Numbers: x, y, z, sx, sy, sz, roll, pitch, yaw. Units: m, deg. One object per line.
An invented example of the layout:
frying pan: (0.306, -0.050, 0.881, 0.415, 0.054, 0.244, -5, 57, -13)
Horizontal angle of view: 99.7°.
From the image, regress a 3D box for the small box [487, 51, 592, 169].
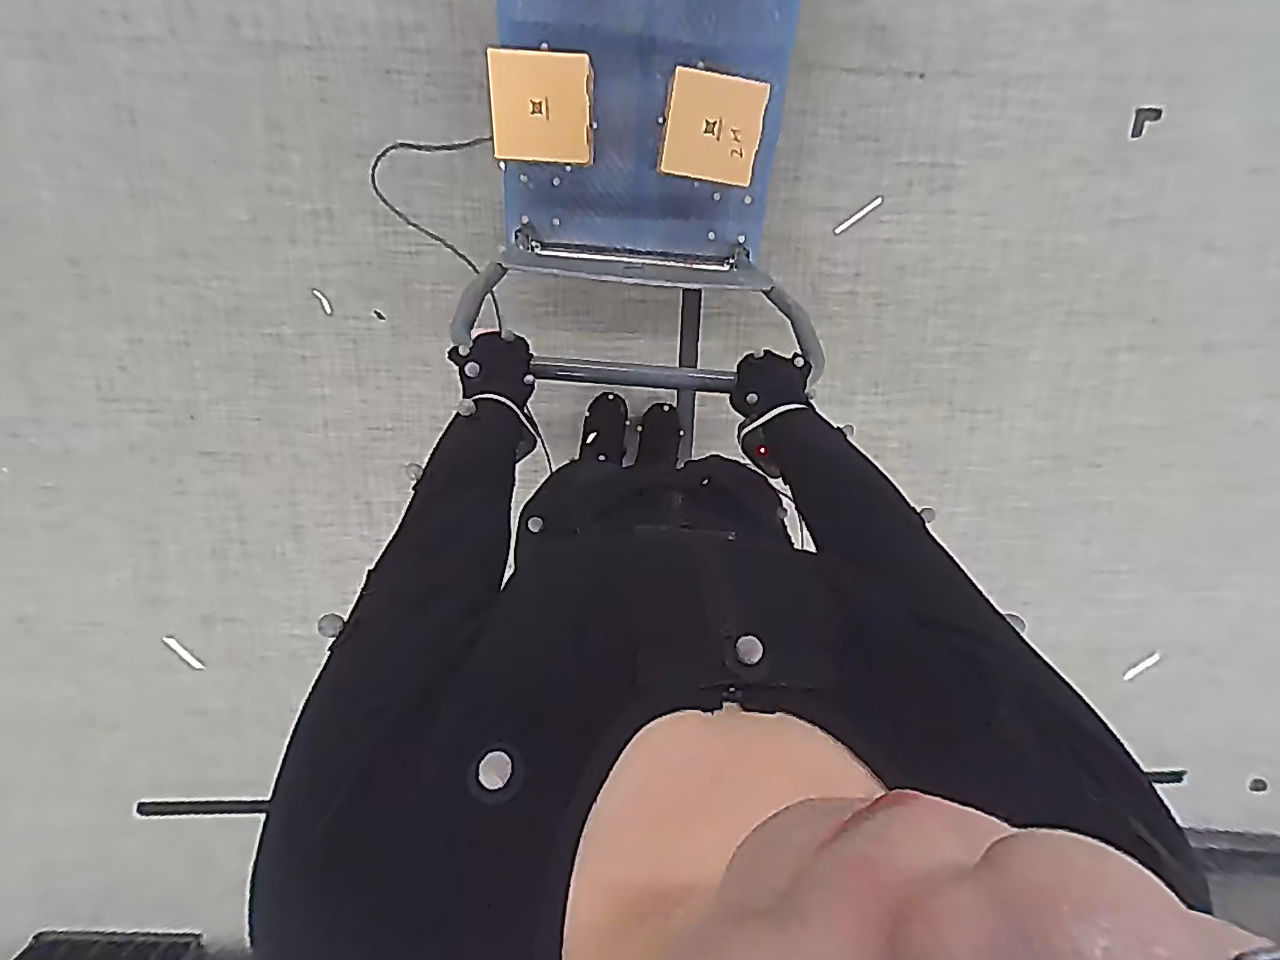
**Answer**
small box: (-0.184, -0.698, 1.038, 0.179, 0.176, 0.168, 0, 118, -4)

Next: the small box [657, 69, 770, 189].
small box: (0.132, -0.675, 1.060, 0.179, 0.176, 0.168, 7, 118, -6)
